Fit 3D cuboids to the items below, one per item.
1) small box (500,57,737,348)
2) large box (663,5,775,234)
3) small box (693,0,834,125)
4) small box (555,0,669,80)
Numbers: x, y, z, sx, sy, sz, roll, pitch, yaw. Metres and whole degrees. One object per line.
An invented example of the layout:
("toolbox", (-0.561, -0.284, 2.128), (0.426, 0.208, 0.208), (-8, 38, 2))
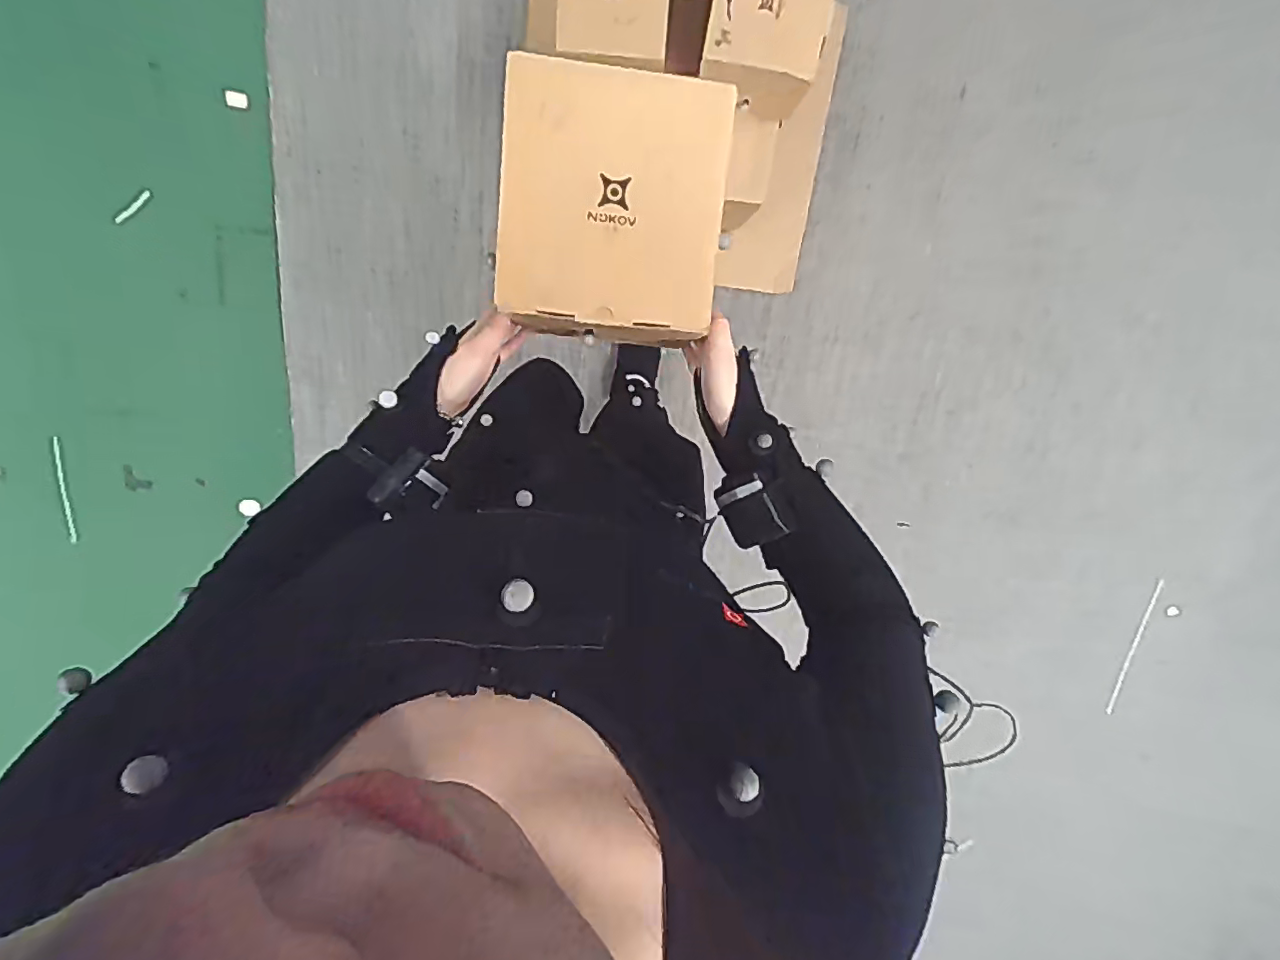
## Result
("small box", (-0.024, -0.219, 0.478), (0.168, 0.176, 0.179), (4, 100, -6))
("large box", (0.046, -0.716, 1.121), (0.408, 0.320, 0.320), (5, 107, -3))
("small box", (0.190, -0.700, 0.870), (0.179, 0.176, 0.168), (11, 106, -3))
("small box", (-0.040, -0.726, 0.865), (0.168, 0.176, 0.179), (4, 106, -1))
